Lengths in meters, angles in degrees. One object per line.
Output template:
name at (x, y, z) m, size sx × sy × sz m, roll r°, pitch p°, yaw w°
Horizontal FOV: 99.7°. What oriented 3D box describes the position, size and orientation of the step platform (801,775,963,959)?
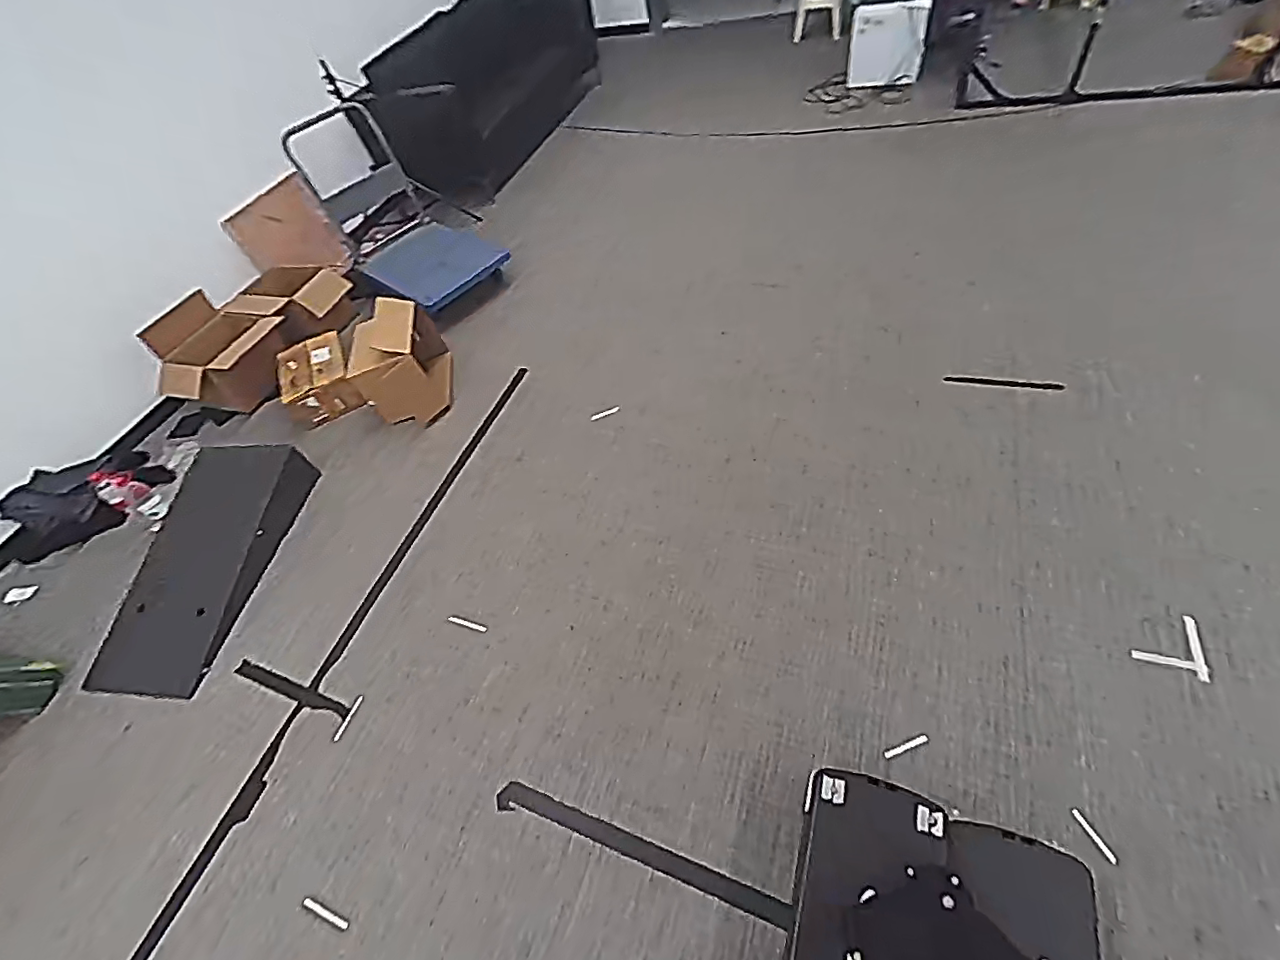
step platform at (0.468, 0.986, 1.082) m, size 0.286 × 0.204 × 0.684 m, roll 9°, pitch 55°, yaw 19°
